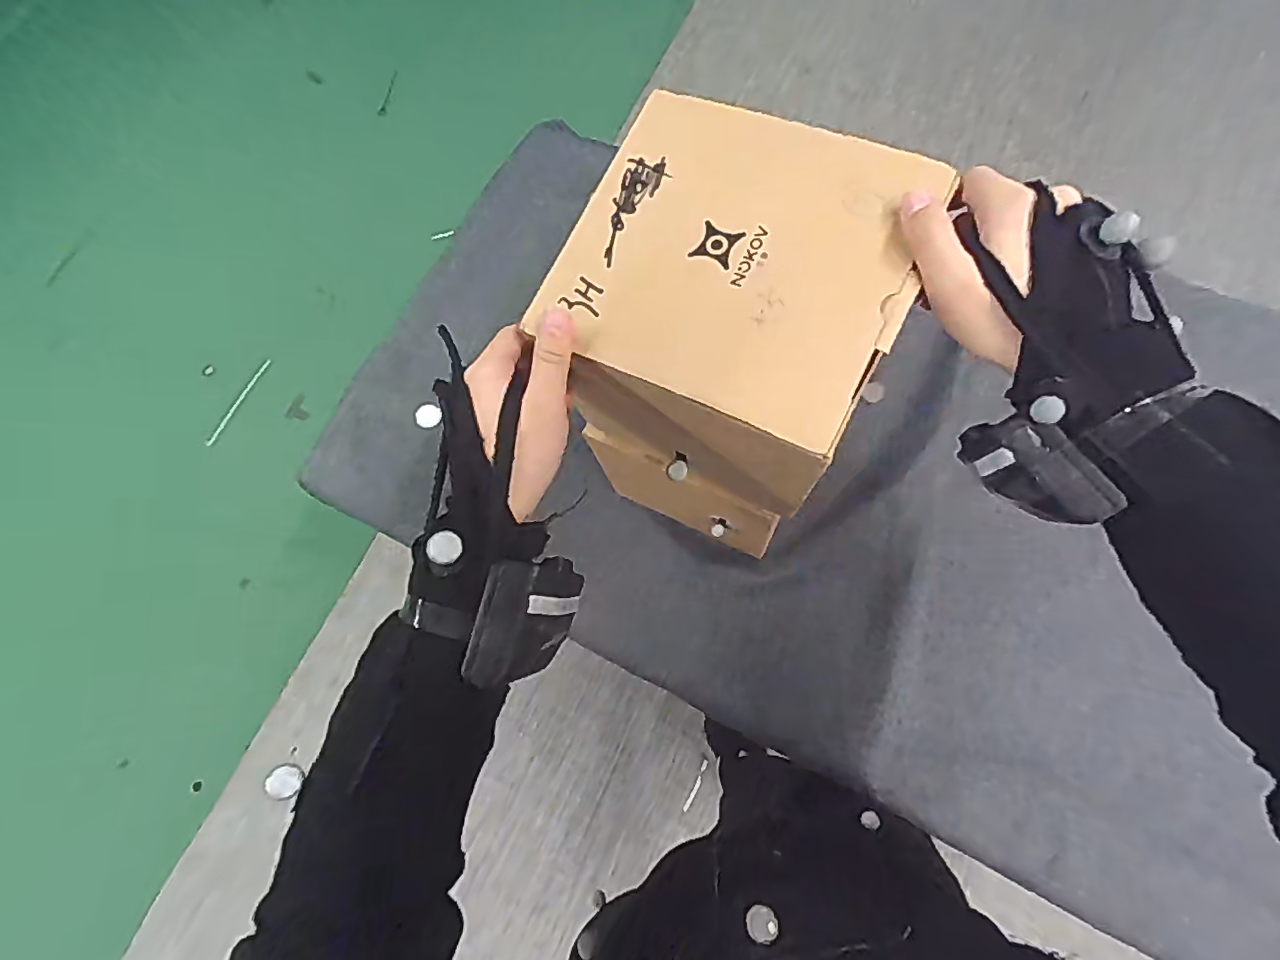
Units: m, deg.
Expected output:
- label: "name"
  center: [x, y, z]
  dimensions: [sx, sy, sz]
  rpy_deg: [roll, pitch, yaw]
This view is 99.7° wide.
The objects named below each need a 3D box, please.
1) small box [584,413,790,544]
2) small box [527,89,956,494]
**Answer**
- label: "small box"
  center: [0.075, -0.051, 0.528]
  dimensions: [0.179, 0.176, 0.168]
  rpy_deg: [24, 75, 16]
- label: "small box"
  center: [0.061, -0.102, 0.361]
  dimensions: [0.179, 0.176, 0.168]
  rpy_deg: [25, 81, 13]
